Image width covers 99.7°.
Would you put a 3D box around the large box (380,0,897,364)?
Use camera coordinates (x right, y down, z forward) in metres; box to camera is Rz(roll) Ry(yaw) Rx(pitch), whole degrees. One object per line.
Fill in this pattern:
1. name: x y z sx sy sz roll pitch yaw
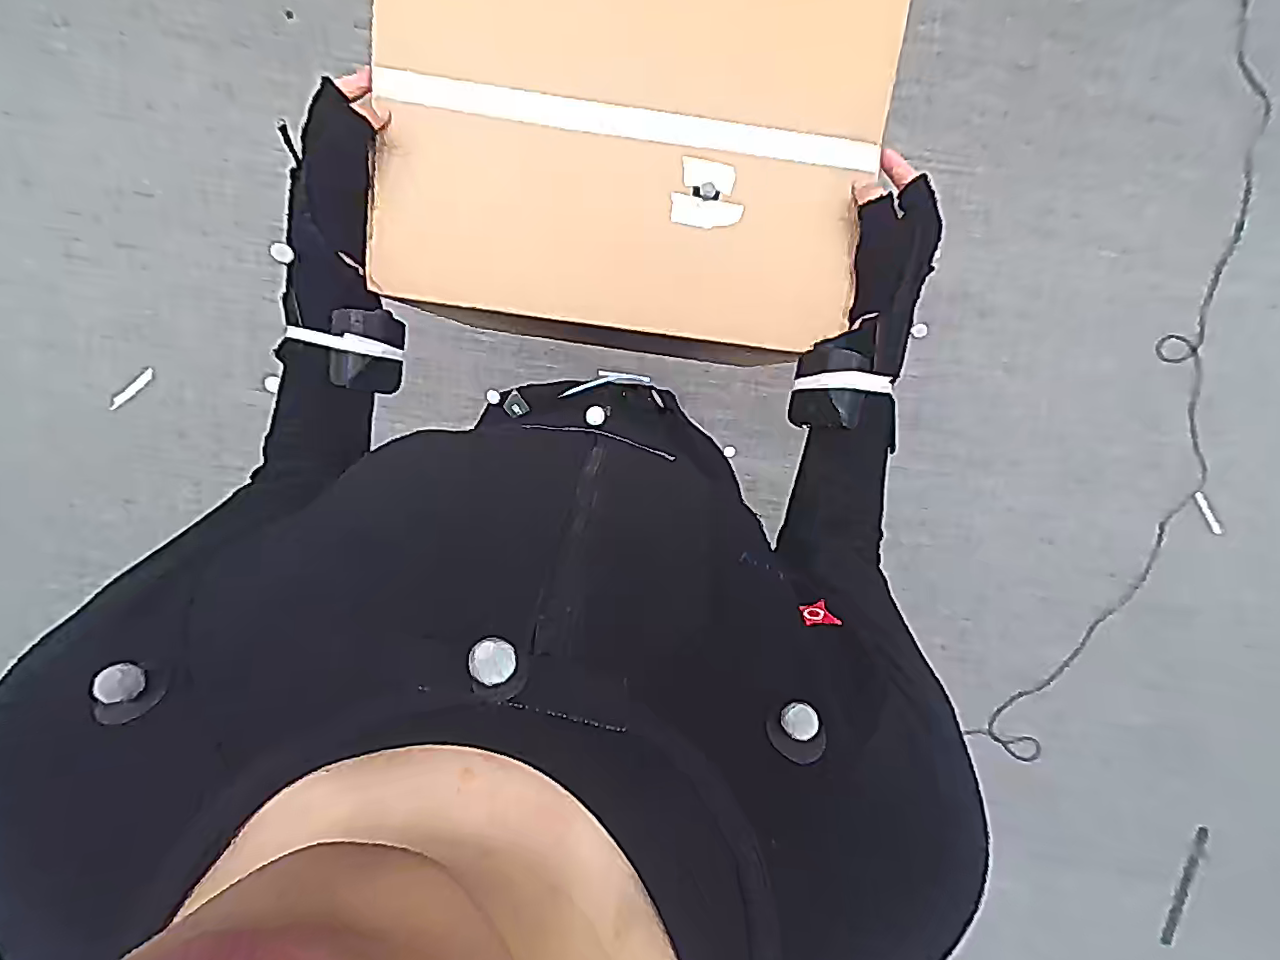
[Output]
1. large box: -0.015 -0.308 0.588 0.408 0.320 0.320 7 101 -4
